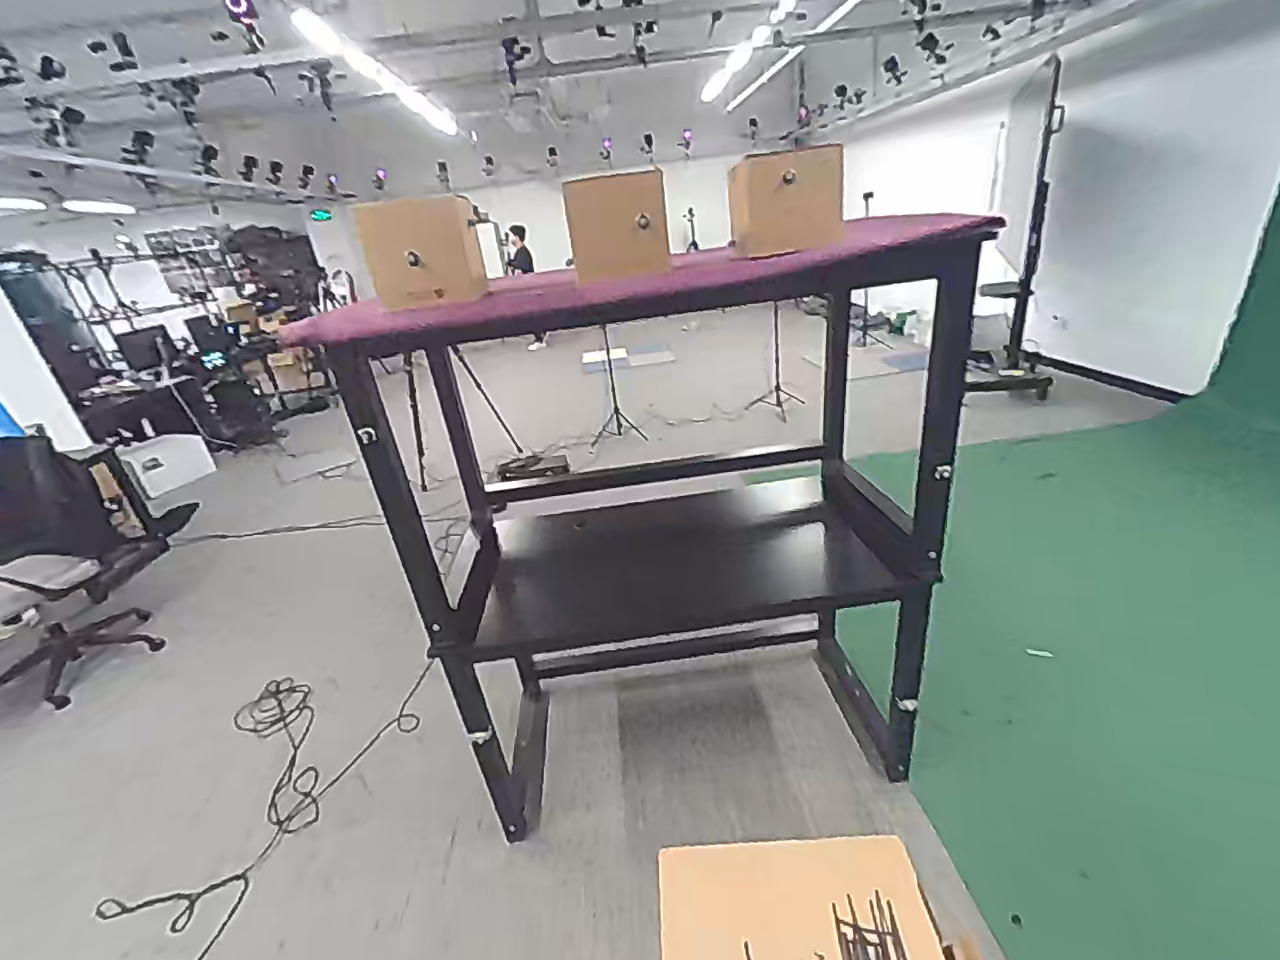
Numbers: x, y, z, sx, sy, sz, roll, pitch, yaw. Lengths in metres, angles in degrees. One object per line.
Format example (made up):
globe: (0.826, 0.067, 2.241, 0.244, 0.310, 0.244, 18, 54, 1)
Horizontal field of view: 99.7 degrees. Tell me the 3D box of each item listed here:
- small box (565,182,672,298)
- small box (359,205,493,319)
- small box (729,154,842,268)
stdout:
small box: (-0.037, -0.450, 1.018, 0.179, 0.176, 0.168, -10, 24, -2)
small box: (-0.373, -0.392, 0.981, 0.168, 0.176, 0.179, -8, 25, -4)
small box: (0.280, -0.509, 1.048, 0.179, 0.176, 0.168, -8, 22, 0)
